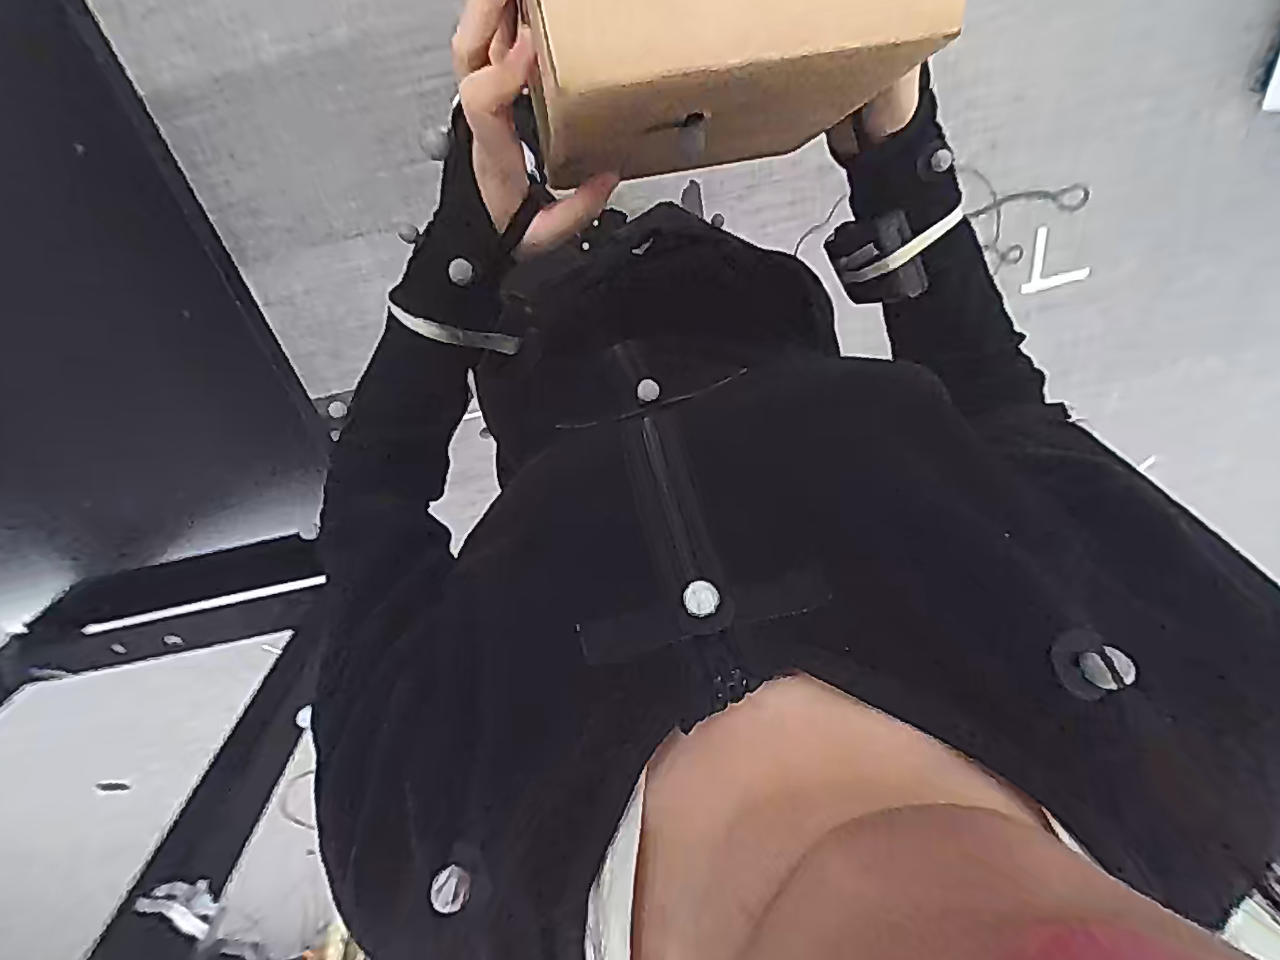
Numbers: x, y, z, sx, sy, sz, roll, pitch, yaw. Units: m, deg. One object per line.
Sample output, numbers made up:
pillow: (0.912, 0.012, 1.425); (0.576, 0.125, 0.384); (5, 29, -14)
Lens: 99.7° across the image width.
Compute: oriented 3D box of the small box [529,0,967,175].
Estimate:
small box: (0.027, -0.271, 0.270); (0.179, 0.176, 0.168); (-12, 109, -3)
